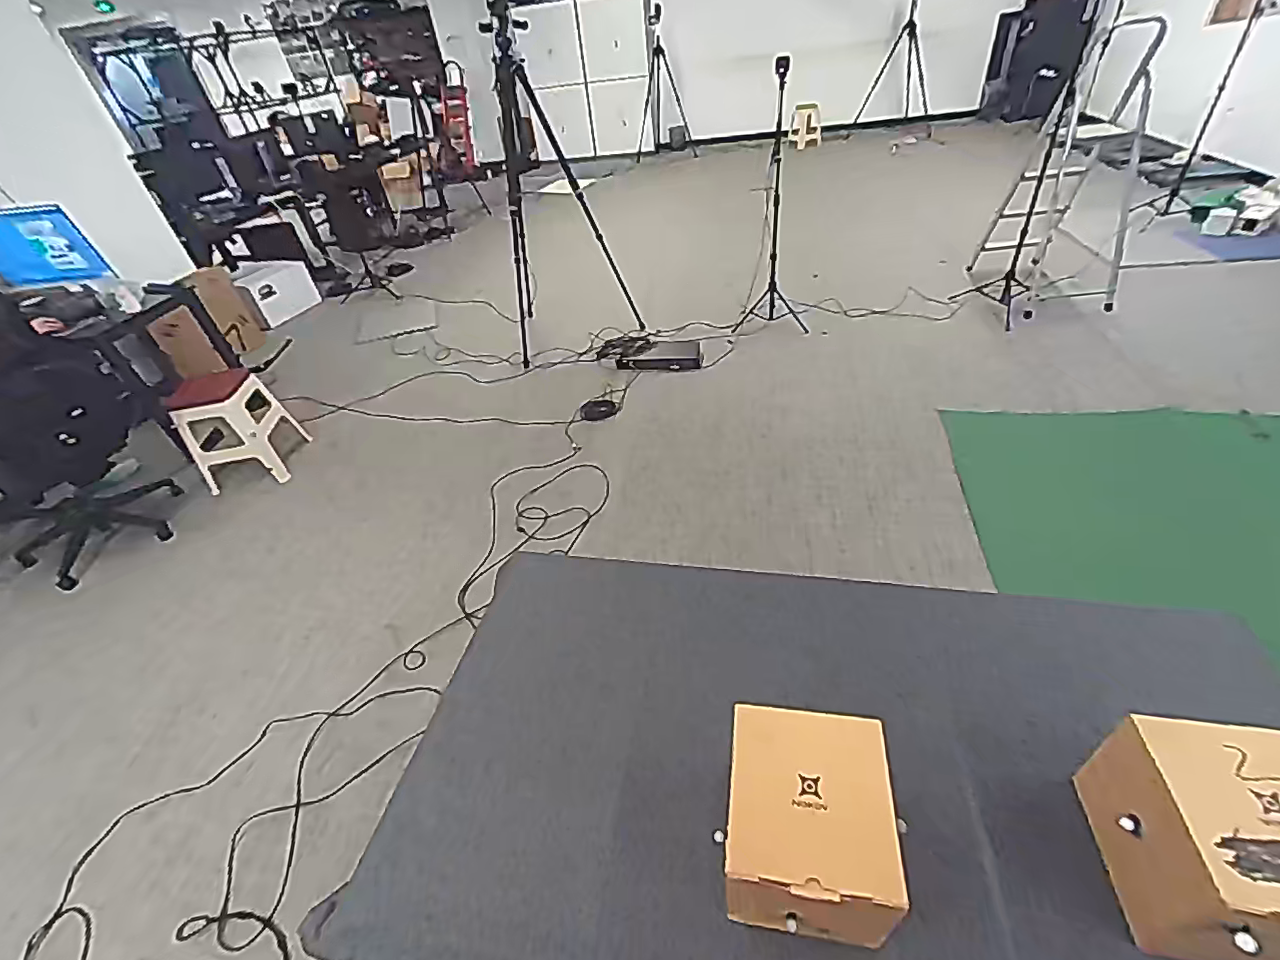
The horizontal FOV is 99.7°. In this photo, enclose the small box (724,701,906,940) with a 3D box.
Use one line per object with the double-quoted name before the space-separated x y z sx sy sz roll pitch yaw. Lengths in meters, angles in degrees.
"small box" 0.184 0.384 0.617 0.168 0.176 0.179 2 42 11
